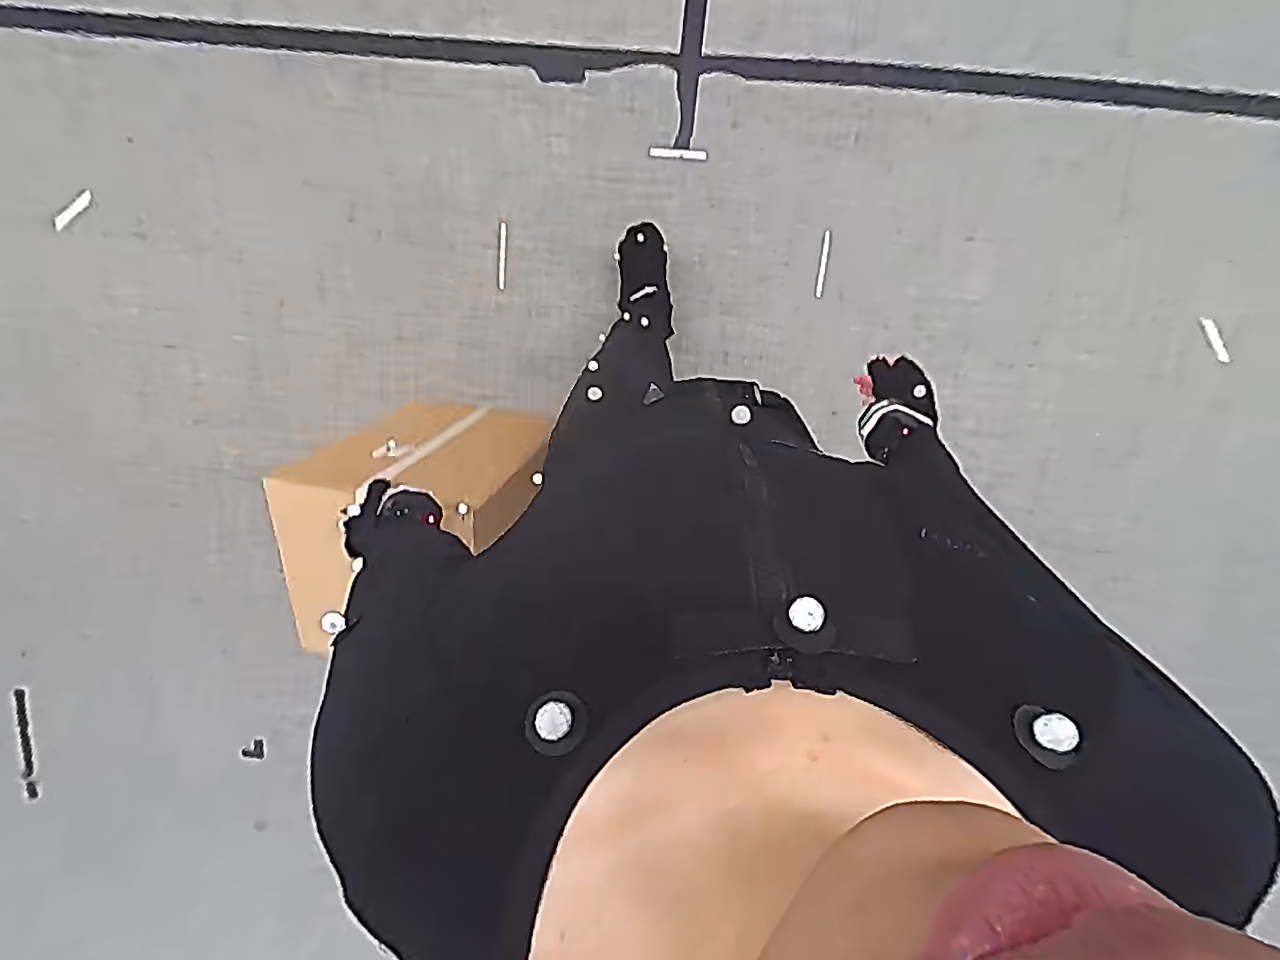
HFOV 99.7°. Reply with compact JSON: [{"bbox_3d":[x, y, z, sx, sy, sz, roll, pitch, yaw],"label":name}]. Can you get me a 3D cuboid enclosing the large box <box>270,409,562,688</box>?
[{"bbox_3d":[-0.347,0.090,0.971,0.320,0.408,0.320,7,115,9],"label":"large box"}]
